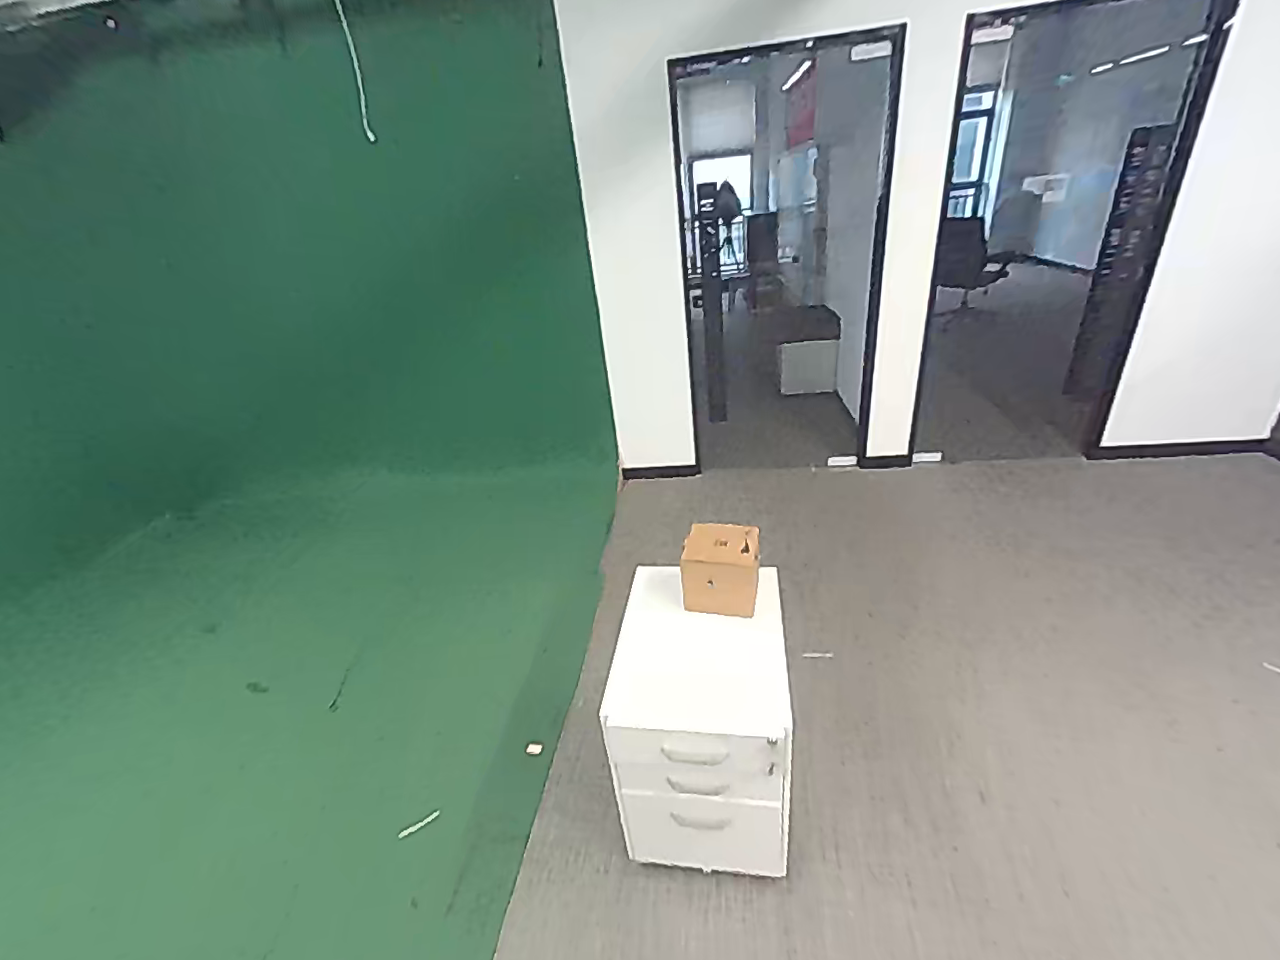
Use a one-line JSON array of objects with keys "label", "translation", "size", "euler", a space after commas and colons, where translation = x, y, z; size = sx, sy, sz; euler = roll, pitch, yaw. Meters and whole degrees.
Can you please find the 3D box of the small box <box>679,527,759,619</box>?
[{"label": "small box", "translation": [0.207, 0.237, 1.387], "size": [0.179, 0.176, 0.168], "euler": [2, 29, 17]}]
